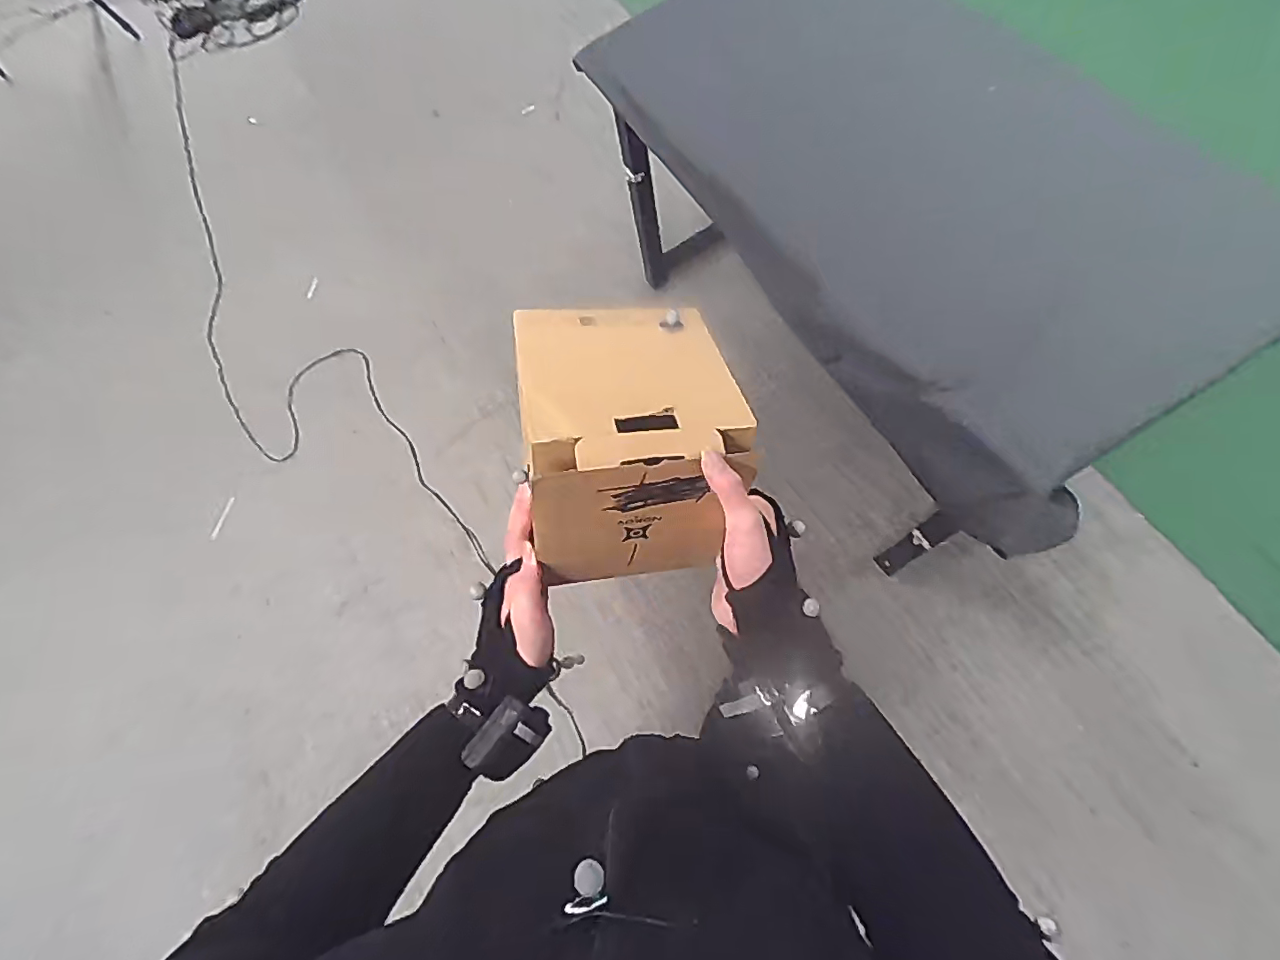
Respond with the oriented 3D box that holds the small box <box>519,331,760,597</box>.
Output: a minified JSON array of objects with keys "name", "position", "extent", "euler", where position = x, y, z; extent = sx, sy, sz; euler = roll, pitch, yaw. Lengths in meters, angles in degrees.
[{"name":"small box","position":[-0.017,-0.022,0.489],"extent":[0.168,0.179,0.176],"euler":[-6,49,-13]}]
